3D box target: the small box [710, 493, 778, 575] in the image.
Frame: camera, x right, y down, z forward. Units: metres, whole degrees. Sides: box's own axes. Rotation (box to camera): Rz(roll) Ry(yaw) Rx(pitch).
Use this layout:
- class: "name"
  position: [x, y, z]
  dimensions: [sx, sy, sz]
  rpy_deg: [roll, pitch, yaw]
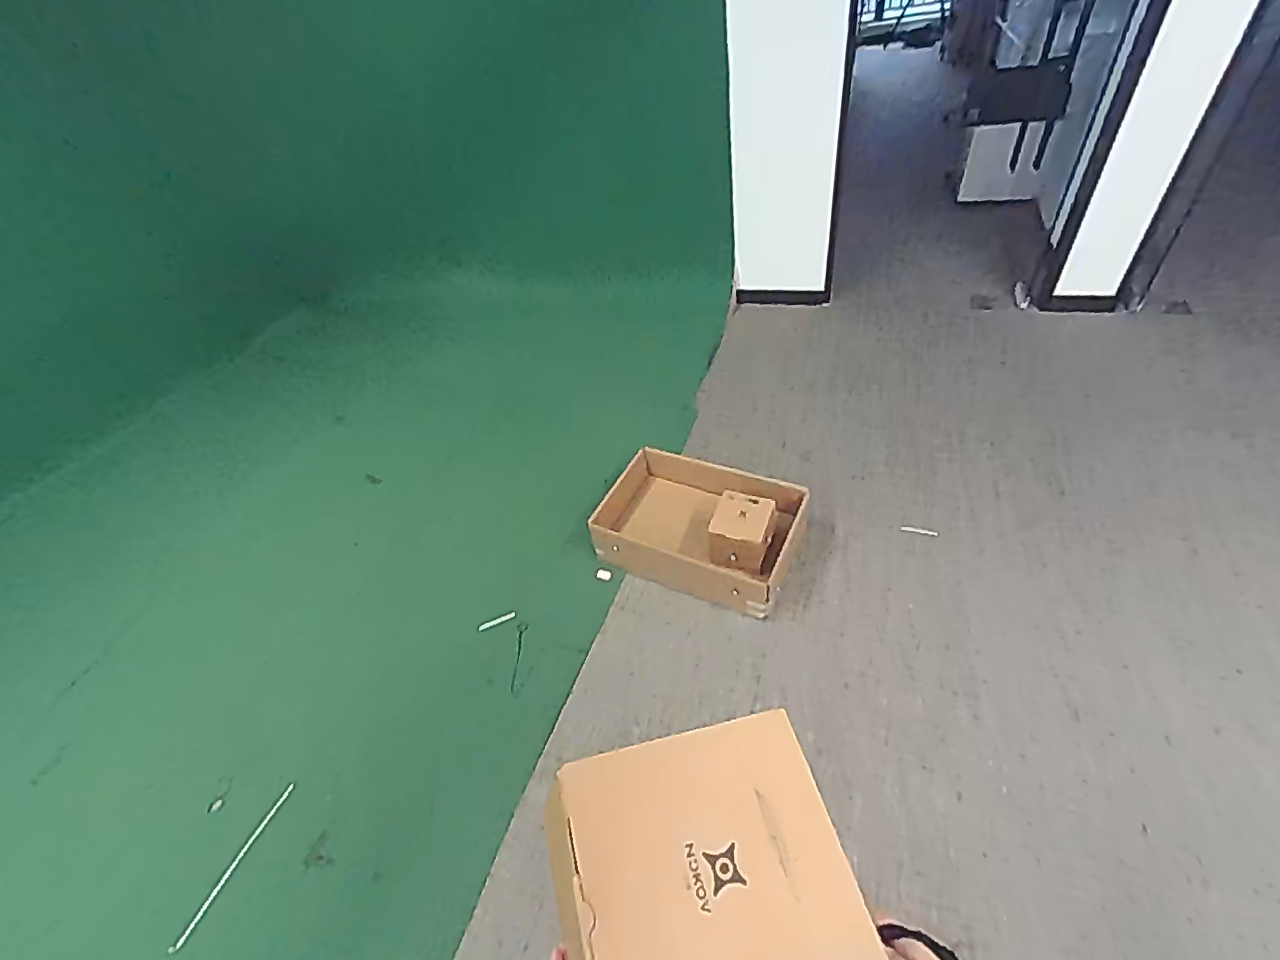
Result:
- class: "small box"
  position: [0.331, 0.170, 1.689]
  dimensions: [0.168, 0.176, 0.179]
  rpy_deg: [12, 51, 24]

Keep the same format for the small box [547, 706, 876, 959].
- class: "small box"
  position: [0.028, 0.293, 0.401]
  dimensions: [0.179, 0.176, 0.168]
  rpy_deg: [-5, 52, -18]
